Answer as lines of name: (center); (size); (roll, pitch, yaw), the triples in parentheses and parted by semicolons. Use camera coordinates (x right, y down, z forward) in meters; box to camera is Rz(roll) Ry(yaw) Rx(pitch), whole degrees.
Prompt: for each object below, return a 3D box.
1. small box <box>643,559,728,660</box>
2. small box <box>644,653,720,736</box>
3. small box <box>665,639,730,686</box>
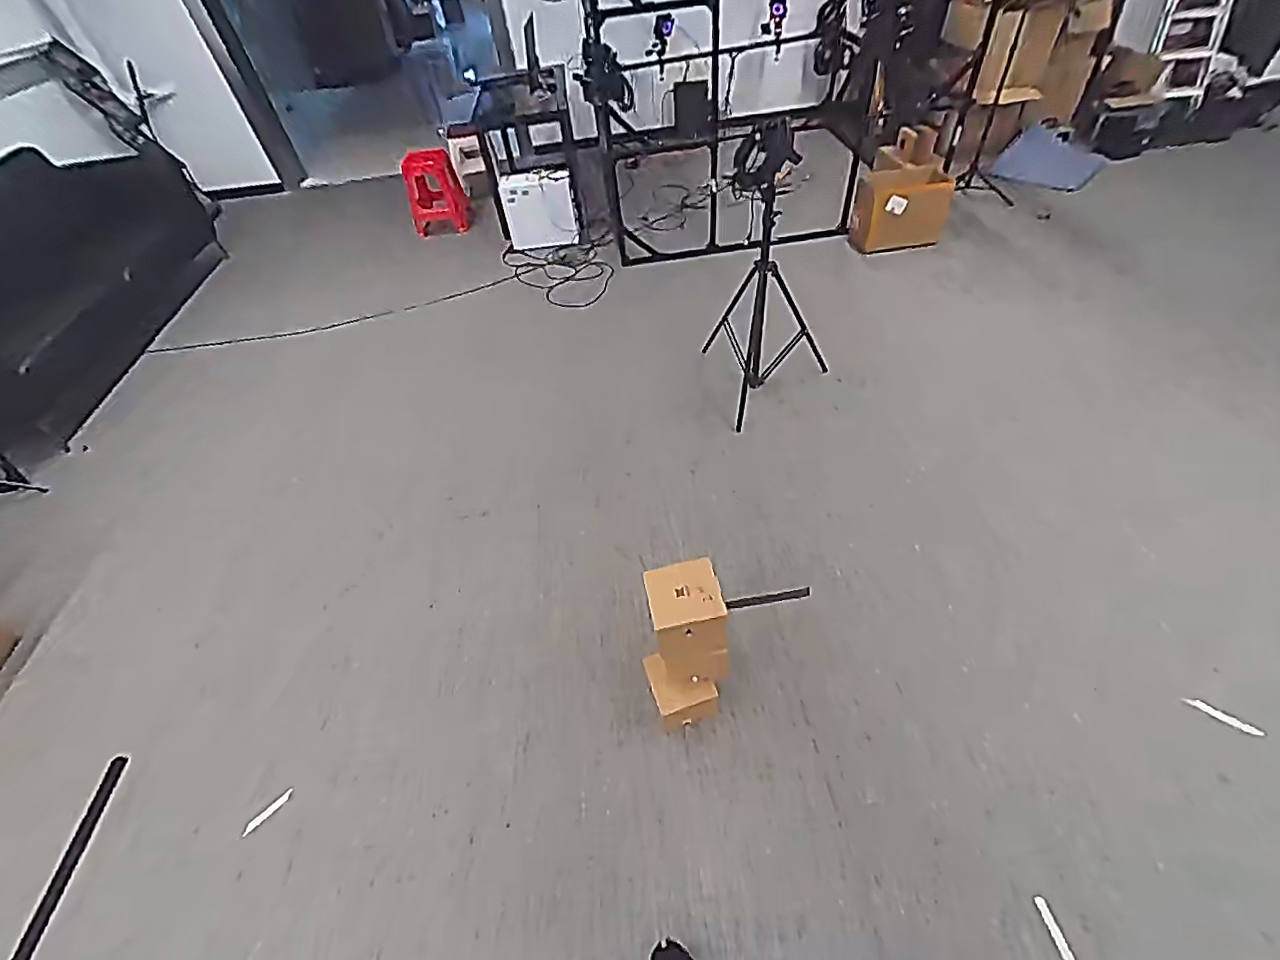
small box: (0.115, 0.324, 1.337); (0.179, 0.176, 0.168); (-12, 47, -2)
small box: (0.118, 0.593, 1.536); (0.168, 0.176, 0.179); (-17, 48, -7)
small box: (0.147, 0.433, 1.457); (0.168, 0.176, 0.179); (-7, 47, 3)
